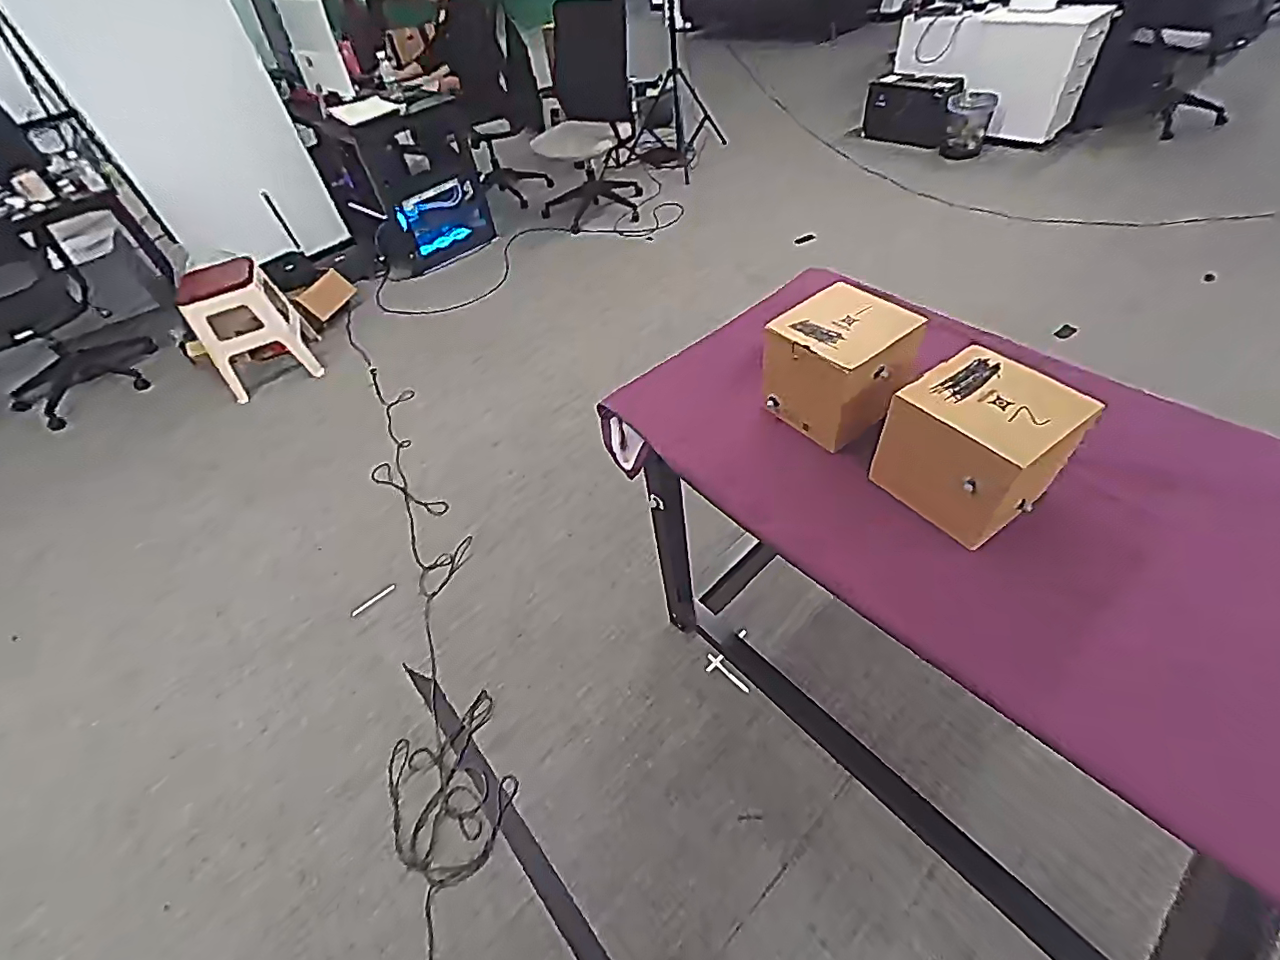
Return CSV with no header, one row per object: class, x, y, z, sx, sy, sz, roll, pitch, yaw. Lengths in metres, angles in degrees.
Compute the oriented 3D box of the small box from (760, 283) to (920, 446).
small box,0.314,-0.187,0.883,0.179,0.176,0.168,-33,52,-19
